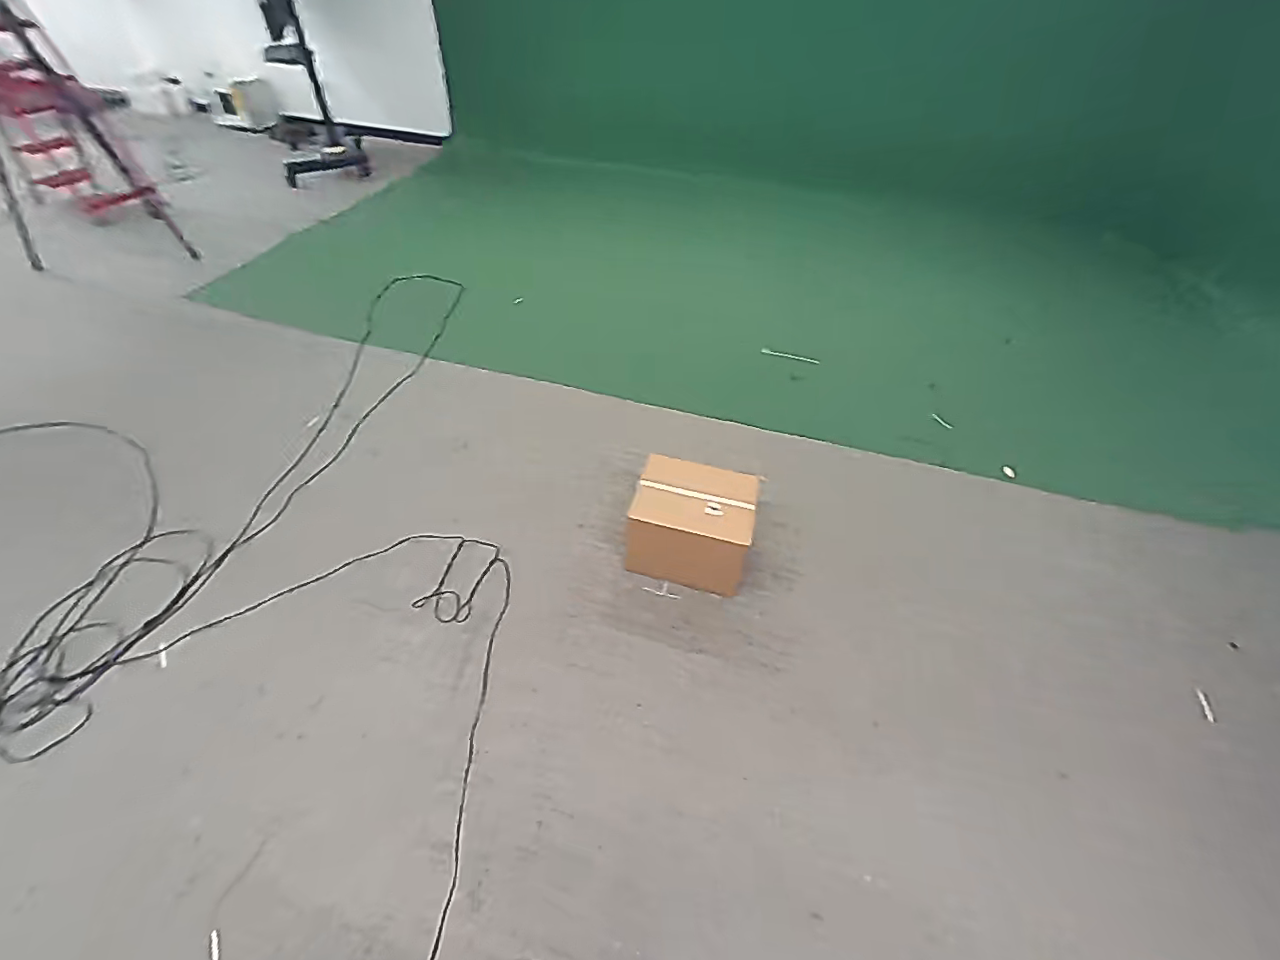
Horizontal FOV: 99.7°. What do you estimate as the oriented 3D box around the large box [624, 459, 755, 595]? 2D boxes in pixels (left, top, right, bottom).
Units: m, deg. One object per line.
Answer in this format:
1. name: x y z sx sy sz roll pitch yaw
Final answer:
1. large box: 0.173 0.168 1.941 0.408 0.320 0.320 12 47 7
